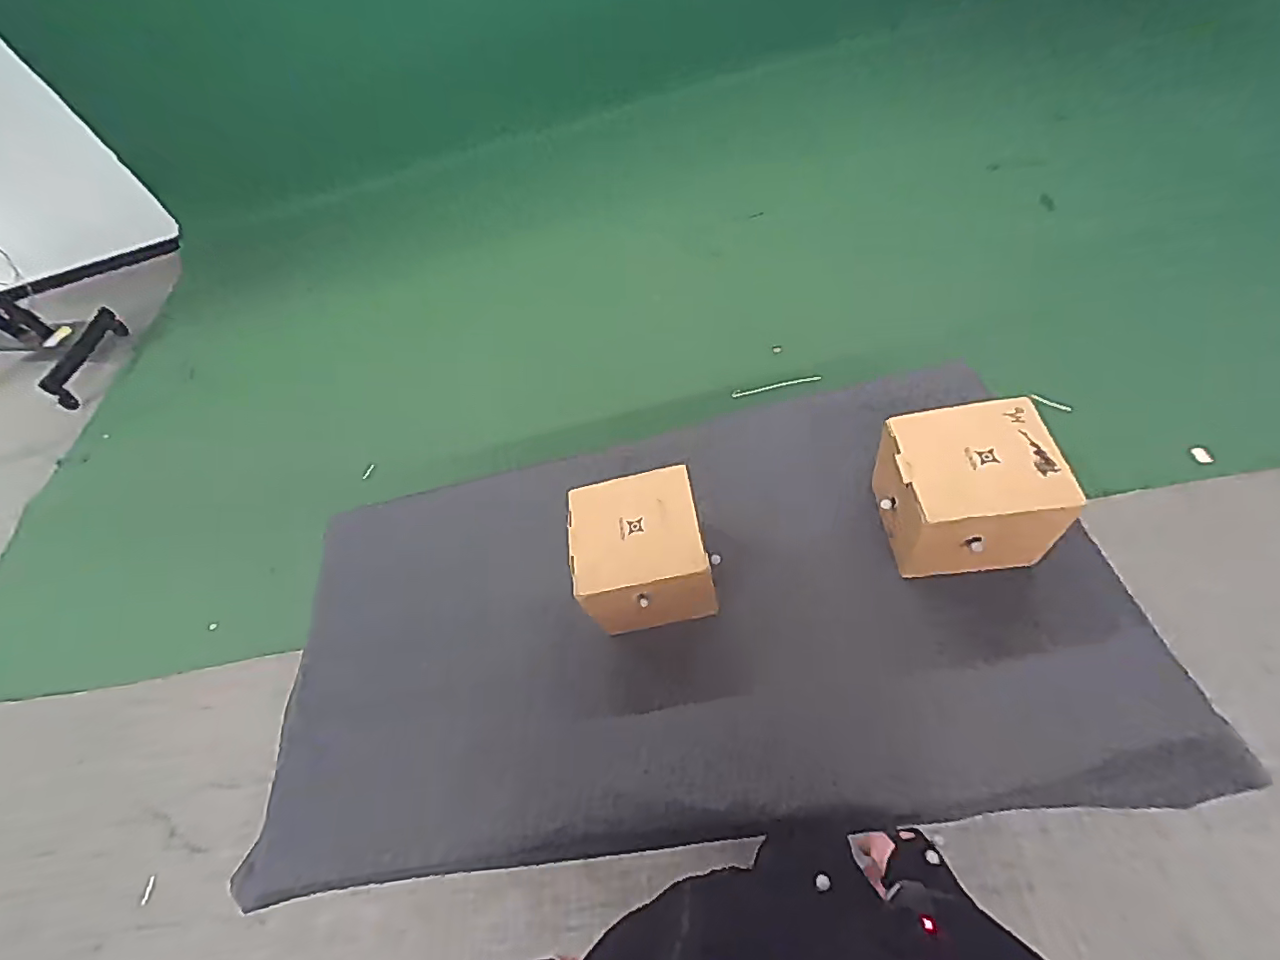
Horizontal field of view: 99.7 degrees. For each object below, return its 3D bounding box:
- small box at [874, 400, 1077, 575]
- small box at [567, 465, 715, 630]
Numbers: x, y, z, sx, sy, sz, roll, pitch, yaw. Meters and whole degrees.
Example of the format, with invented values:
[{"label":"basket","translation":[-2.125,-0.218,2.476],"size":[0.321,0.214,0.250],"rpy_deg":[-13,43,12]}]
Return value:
[{"label":"small box","translation":[0.428,0.018,0.733],"size":[0.179,0.176,0.168],"rpy_deg":[-8,57,10]},{"label":"small box","translation":[0.004,0.106,0.790],"size":[0.179,0.176,0.168],"rpy_deg":[-12,57,5]}]
